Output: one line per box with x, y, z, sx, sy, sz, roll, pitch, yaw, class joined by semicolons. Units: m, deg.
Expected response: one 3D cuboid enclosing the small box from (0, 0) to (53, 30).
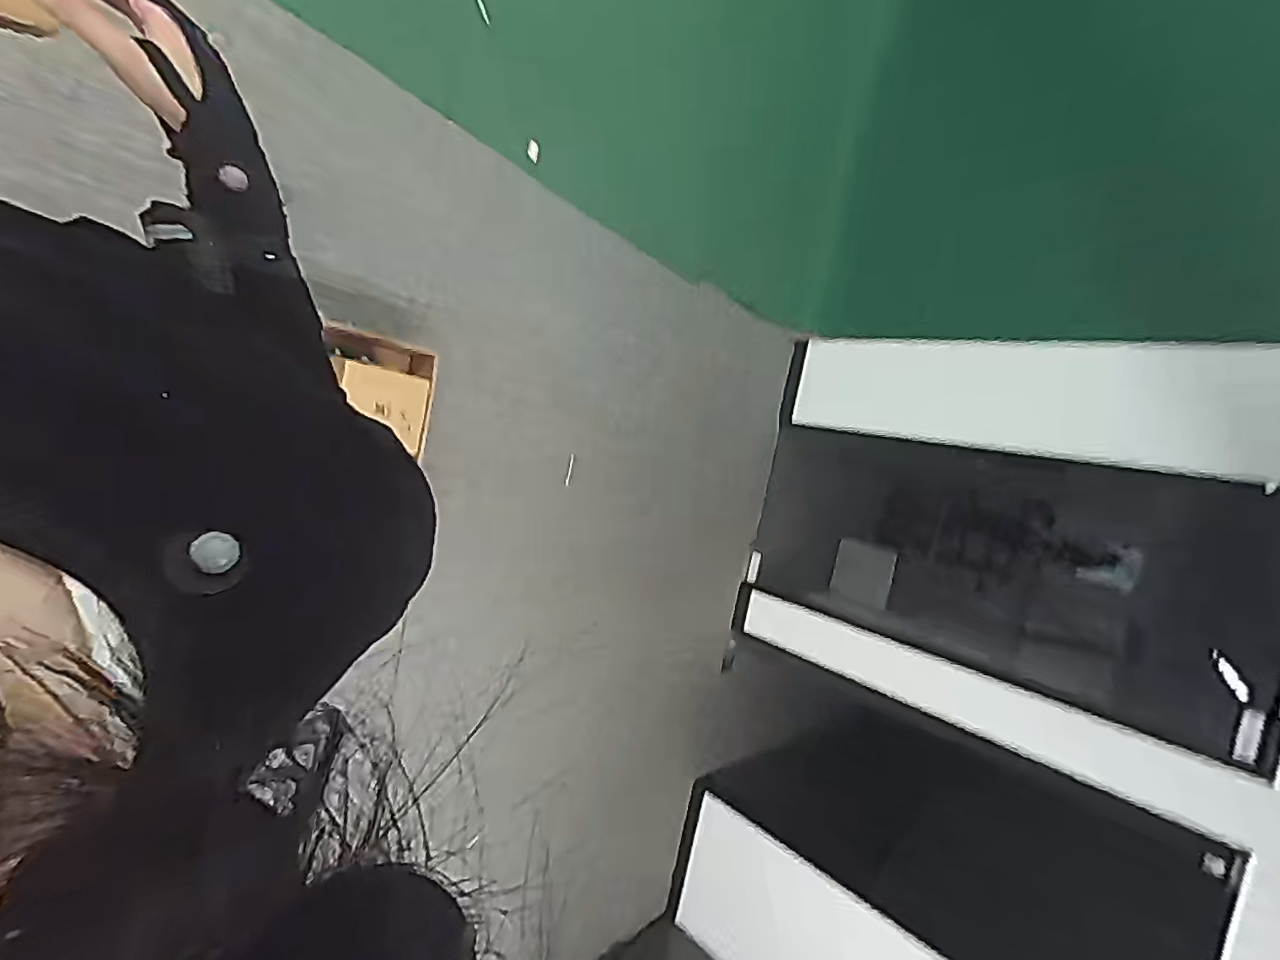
-0.455;-0.372;0.283;0.179;0.176;0.168;-12;126;-43;small box

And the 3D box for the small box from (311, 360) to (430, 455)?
-0.593;-0.160;1.181;0.179;0.176;0.168;9;95;-46;small box

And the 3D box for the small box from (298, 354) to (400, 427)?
-0.701;-0.200;1.298;0.168;0.176;0.179;3;100;-46;small box
